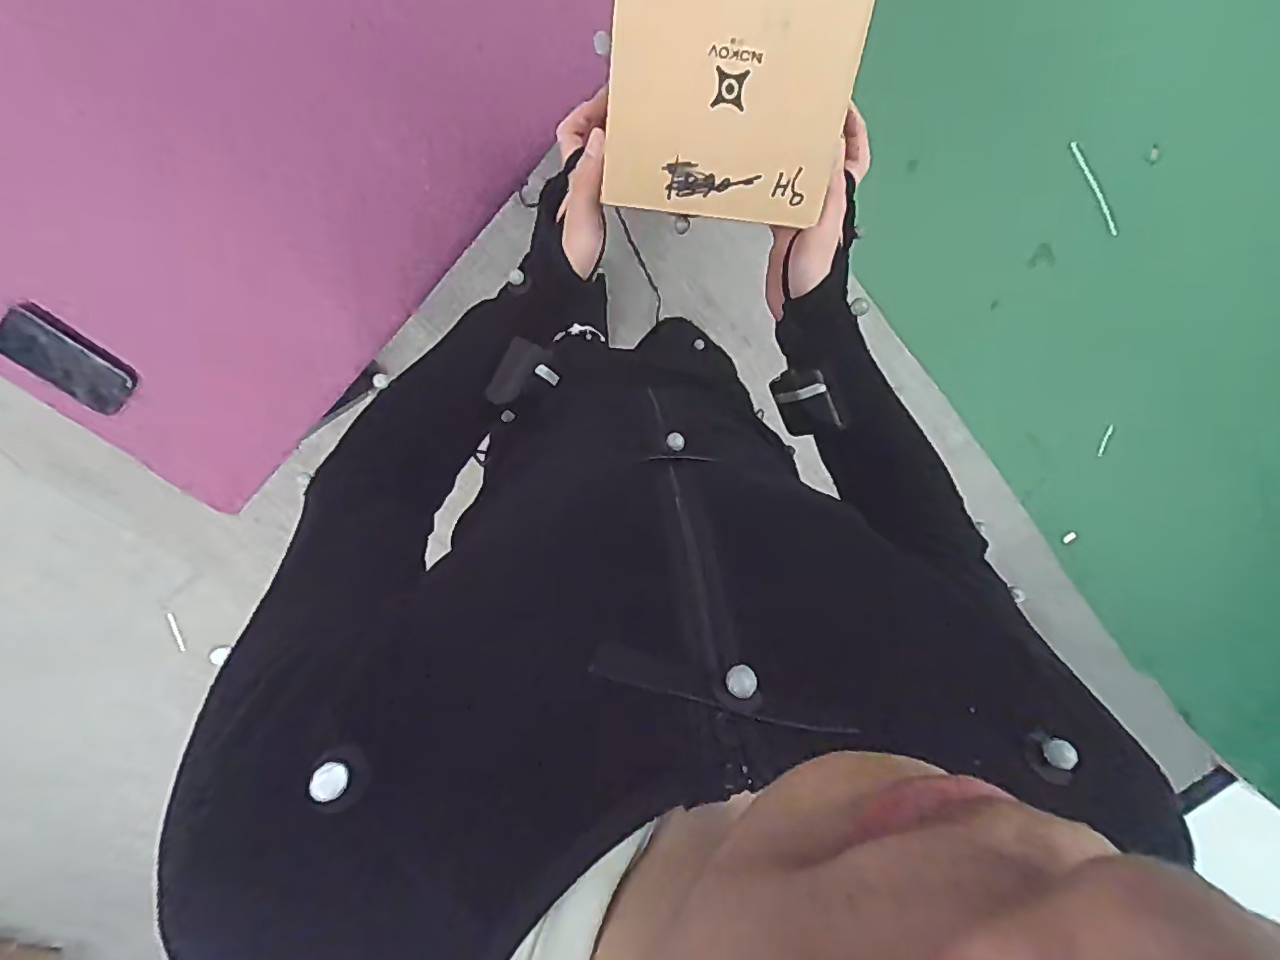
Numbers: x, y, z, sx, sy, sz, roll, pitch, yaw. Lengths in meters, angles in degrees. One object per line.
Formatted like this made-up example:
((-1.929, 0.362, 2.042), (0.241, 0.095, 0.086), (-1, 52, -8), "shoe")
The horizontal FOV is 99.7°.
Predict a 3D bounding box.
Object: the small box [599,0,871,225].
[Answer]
((0.056, -0.311, 0.425), (0.168, 0.176, 0.179), (4, 119, -5), "small box")
